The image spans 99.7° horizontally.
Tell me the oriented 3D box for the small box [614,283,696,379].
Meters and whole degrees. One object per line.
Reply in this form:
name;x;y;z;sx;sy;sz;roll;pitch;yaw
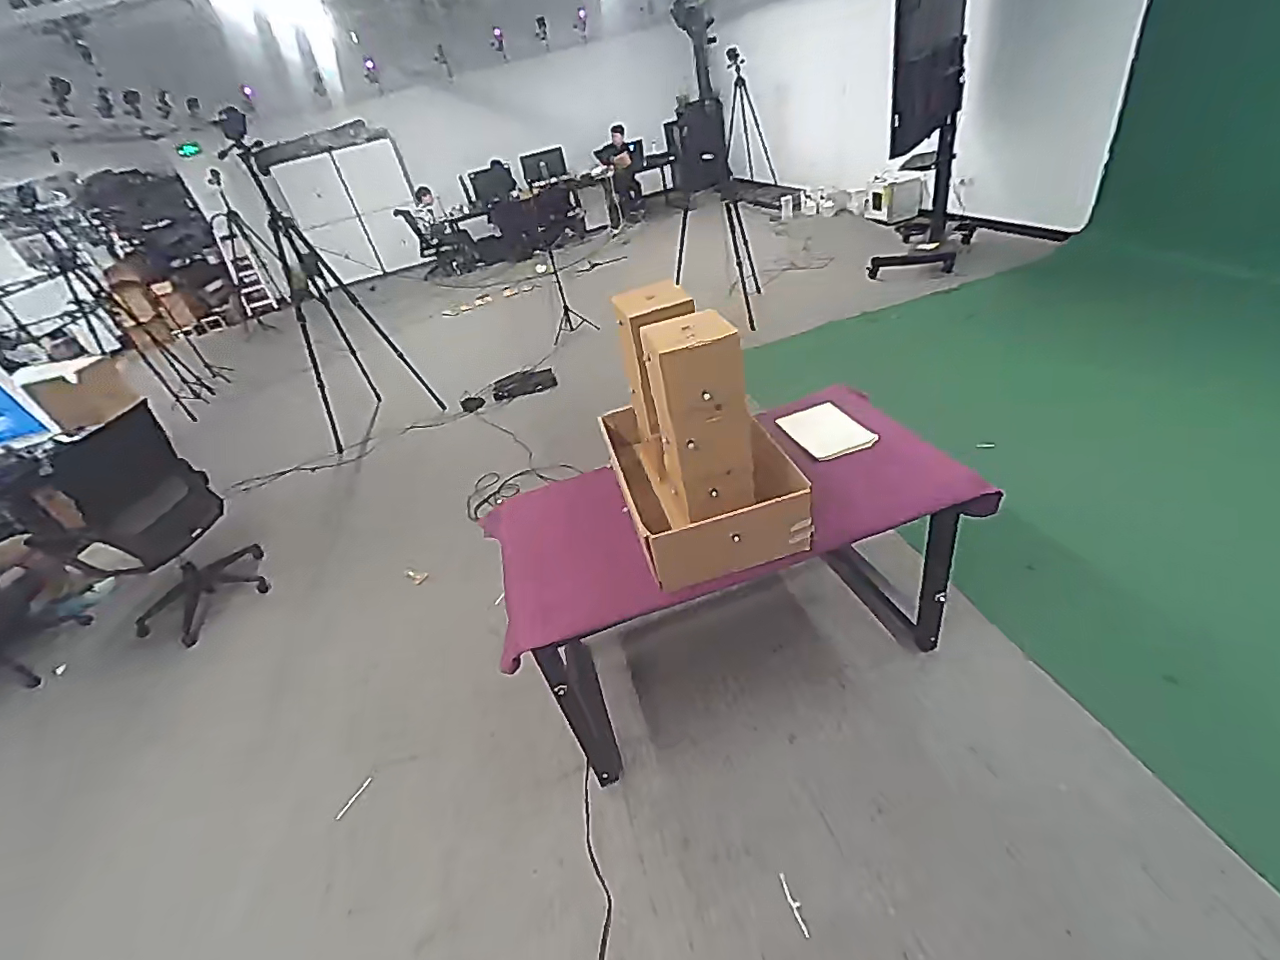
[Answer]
small box;0.043;-0.377;1.371;0.168;0.176;0.179;-18;37;-6

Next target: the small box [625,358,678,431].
small box;0.072;-0.250;1.469;0.168;0.176;0.179;-18;36;-7

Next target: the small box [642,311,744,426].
small box;0.112;-0.237;1.147;0.168;0.176;0.179;-16;35;-3

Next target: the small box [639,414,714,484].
small box;0.105;-0.117;1.559;0.168;0.176;0.179;-18;37;-6
